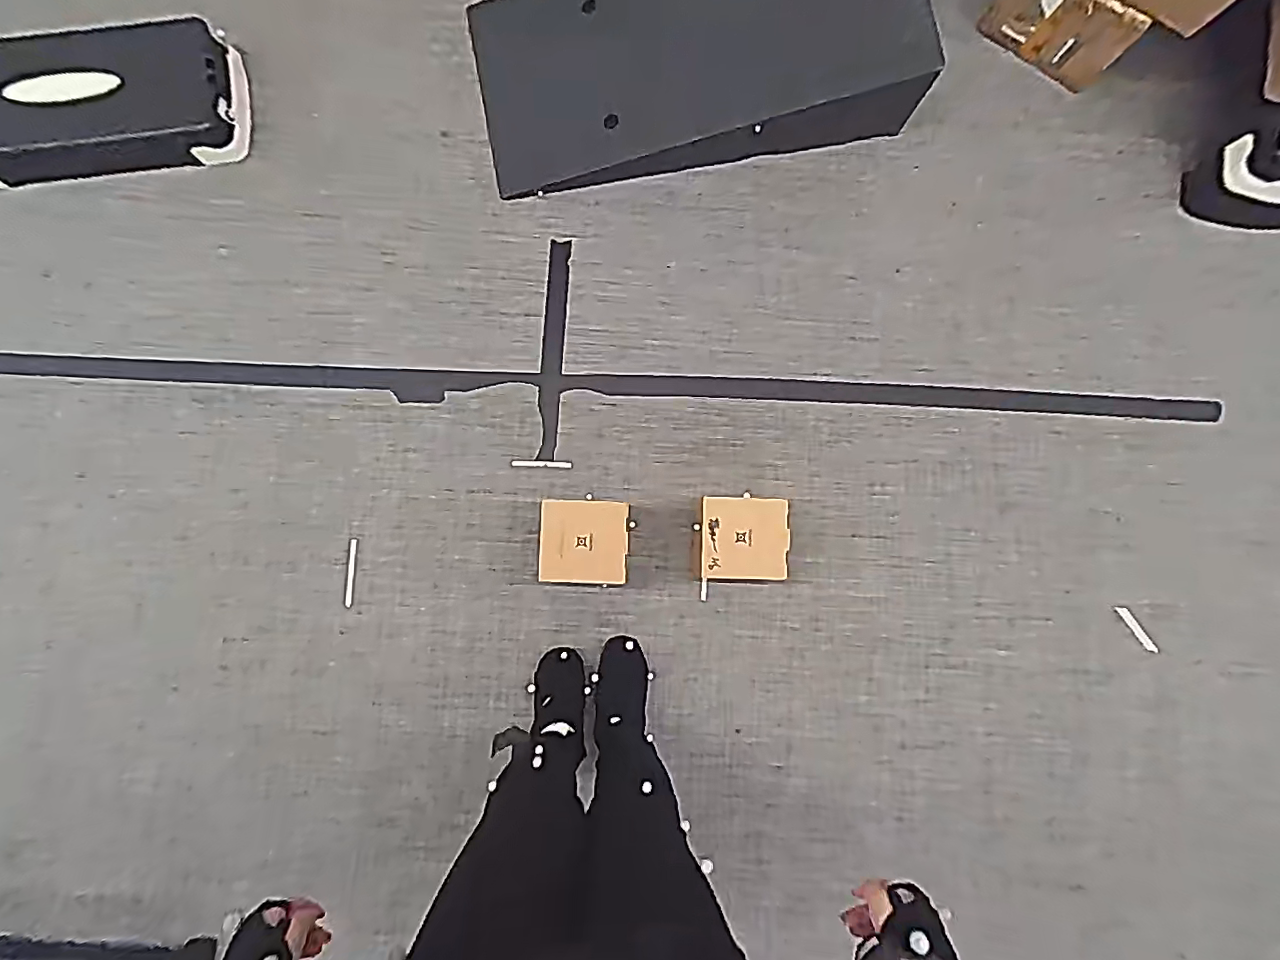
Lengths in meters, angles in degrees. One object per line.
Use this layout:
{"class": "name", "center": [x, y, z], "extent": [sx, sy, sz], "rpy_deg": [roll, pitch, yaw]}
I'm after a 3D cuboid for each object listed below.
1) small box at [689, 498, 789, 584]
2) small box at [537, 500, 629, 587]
{"class": "small box", "center": [0.205, 0.126, 1.156], "extent": [0.179, 0.176, 0.168], "rpy_deg": [3, 86, -2]}
{"class": "small box", "center": [-0.115, 0.129, 1.148], "extent": [0.179, 0.176, 0.168], "rpy_deg": [3, 86, -1]}
